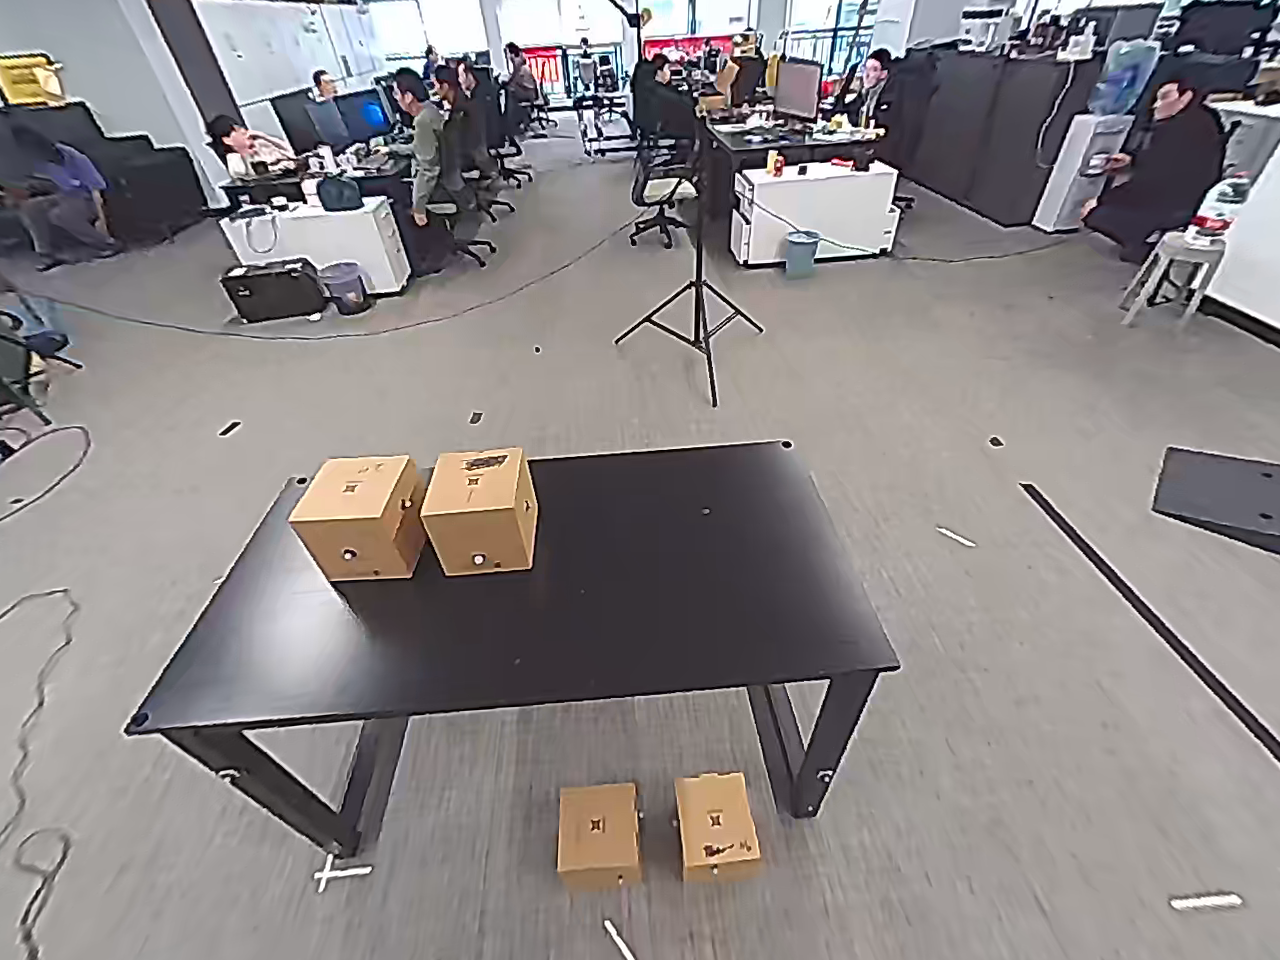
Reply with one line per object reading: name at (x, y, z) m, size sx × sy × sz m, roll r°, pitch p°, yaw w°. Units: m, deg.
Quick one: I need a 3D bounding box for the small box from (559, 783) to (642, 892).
small box at (-0.087, 0.832, 1.258) m, size 0.179 × 0.176 × 0.168 m, roll -6°, pitch 40°, yaw -1°

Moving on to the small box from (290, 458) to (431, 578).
small box at (-0.523, 0.078, 1.049) m, size 0.168 × 0.176 × 0.179 m, roll -2°, pitch 40°, yaw 1°

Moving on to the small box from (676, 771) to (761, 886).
small box at (0.175, 0.811, 1.257) m, size 0.168 × 0.176 × 0.179 m, roll -6°, pitch 40°, yaw -1°

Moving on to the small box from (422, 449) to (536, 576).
small box at (-0.300, 0.063, 1.048) m, size 0.168 × 0.176 × 0.179 m, roll -5°, pitch 42°, yaw -2°
